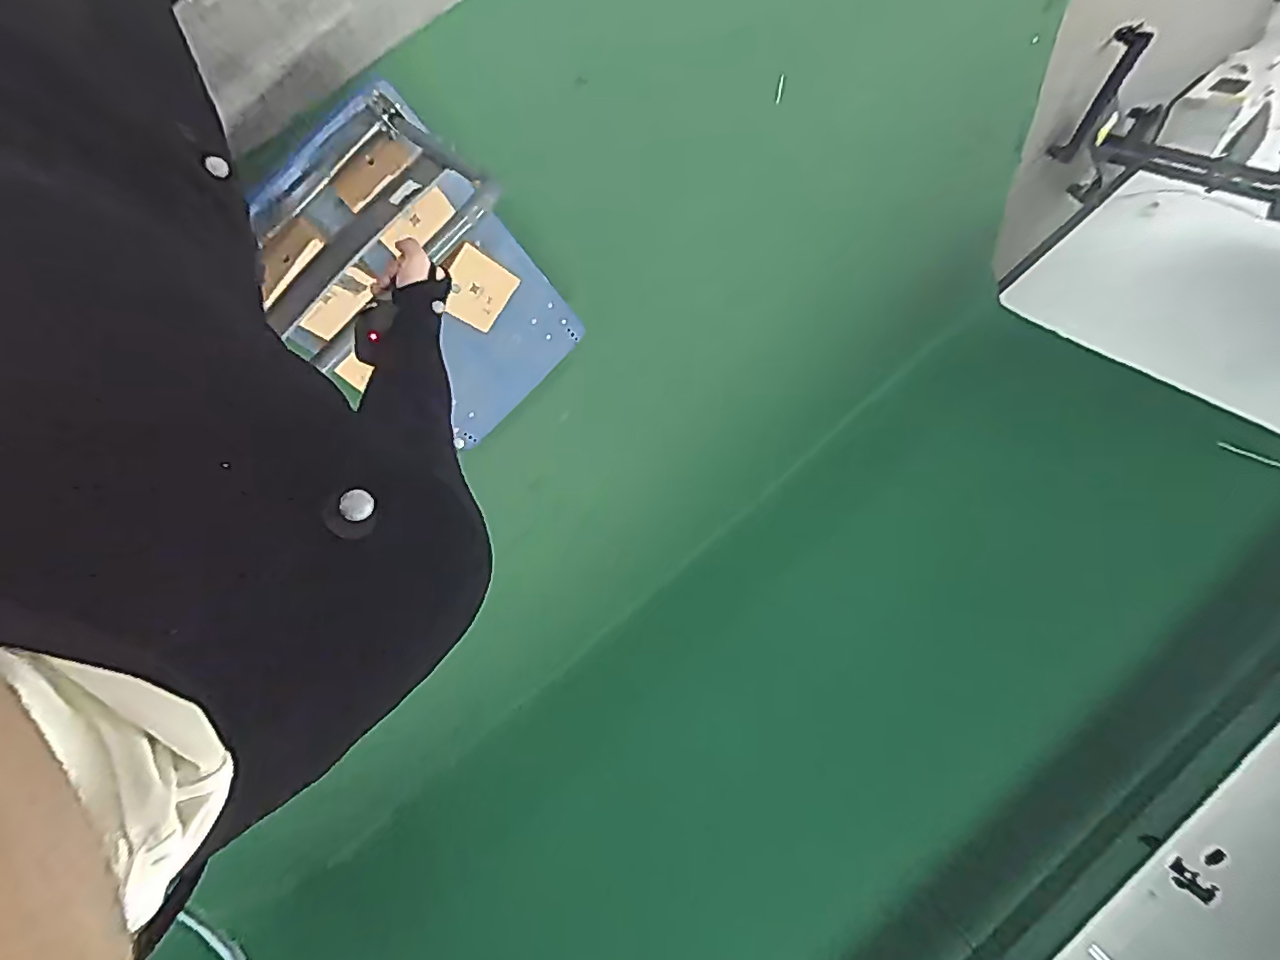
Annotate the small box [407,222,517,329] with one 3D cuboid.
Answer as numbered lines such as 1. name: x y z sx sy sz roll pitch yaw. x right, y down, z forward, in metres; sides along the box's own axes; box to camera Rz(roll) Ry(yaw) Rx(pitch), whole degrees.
1. small box: -0.450 -0.516 1.353 0.168 0.176 0.179 -51 146 12
